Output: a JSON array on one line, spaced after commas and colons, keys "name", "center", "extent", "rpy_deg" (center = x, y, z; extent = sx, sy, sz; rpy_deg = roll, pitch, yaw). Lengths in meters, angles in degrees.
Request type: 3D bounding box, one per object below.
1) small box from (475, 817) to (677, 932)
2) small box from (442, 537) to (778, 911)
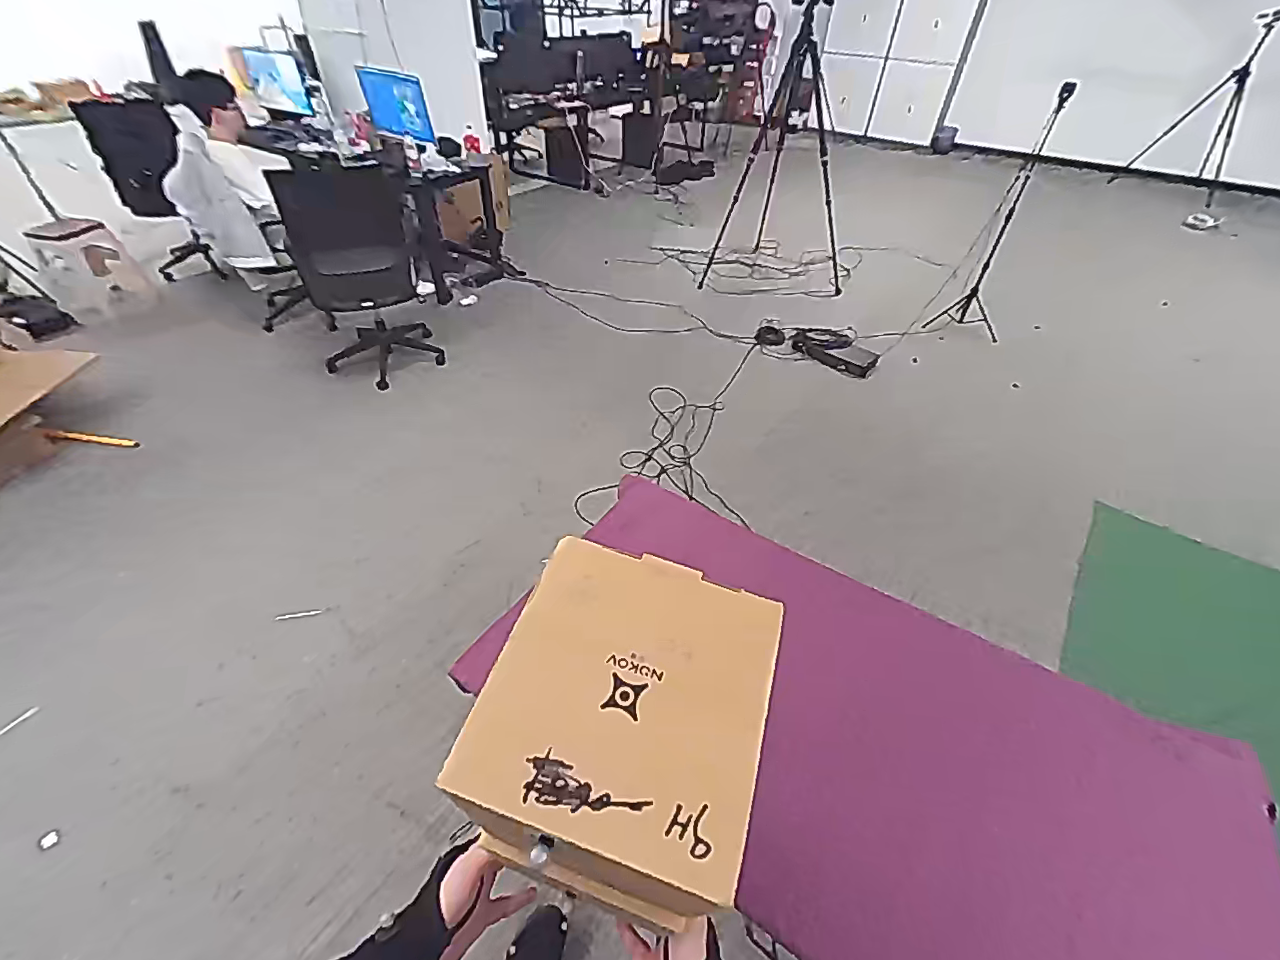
[{"name": "small box", "center": [-0.027, 0.290, 0.513], "extent": [0.168, 0.176, 0.179], "rpy_deg": [17, 51, 10]}, {"name": "small box", "center": [-0.013, 0.177, 0.395], "extent": [0.168, 0.176, 0.179], "rpy_deg": [16, 50, 10]}]
